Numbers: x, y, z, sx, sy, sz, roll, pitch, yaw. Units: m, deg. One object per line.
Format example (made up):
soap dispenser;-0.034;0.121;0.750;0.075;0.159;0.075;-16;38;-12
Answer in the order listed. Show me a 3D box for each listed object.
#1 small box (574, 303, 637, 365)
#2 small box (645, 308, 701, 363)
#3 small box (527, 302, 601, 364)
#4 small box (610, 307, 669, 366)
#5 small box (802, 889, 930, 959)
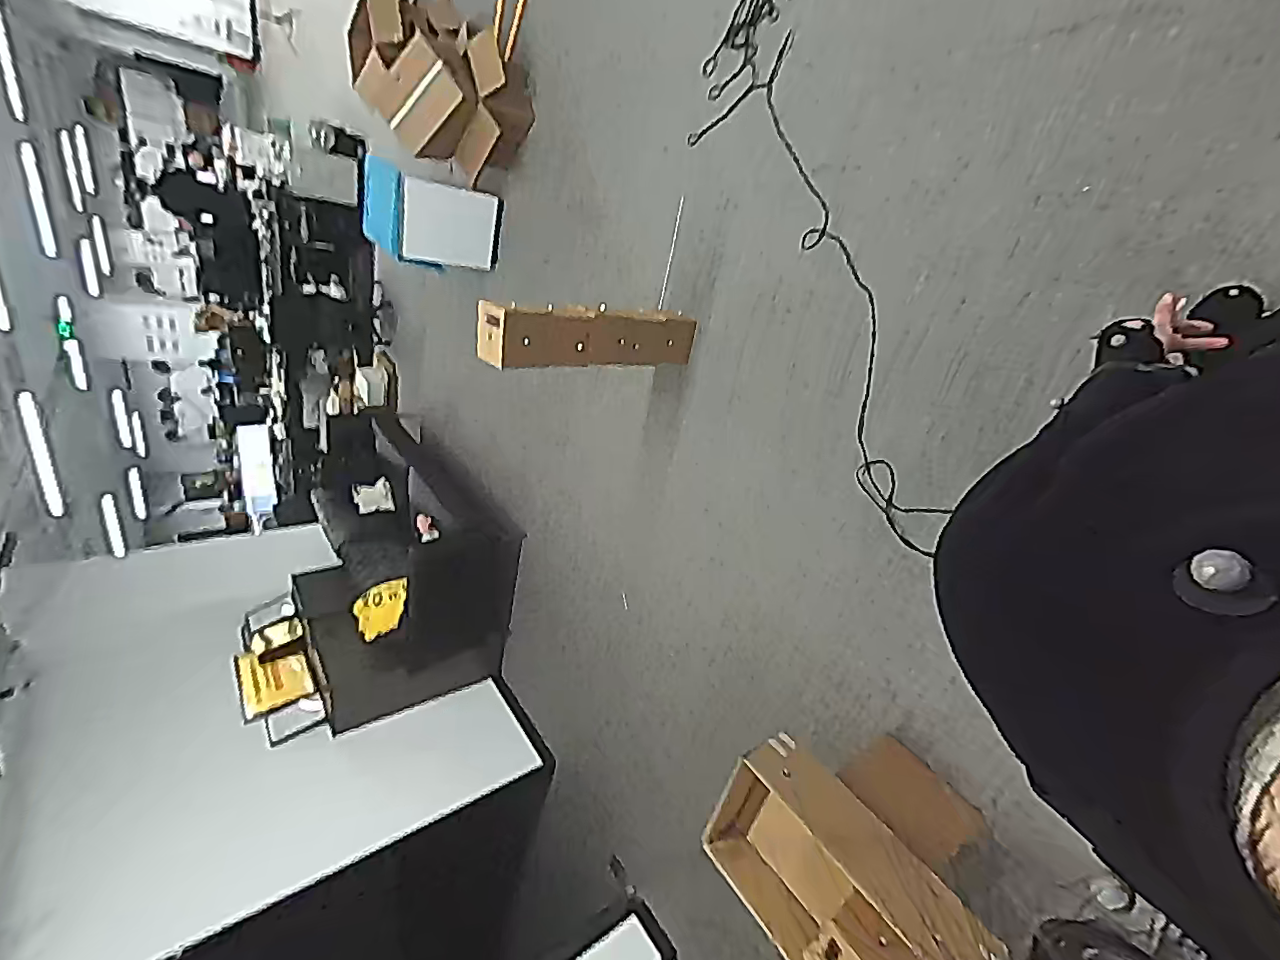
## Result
small box;-0.131;-0.513;1.906;0.168;0.176;0.179;34;122;42
small box;0.115;-0.563;2.116;0.168;0.176;0.179;36;123;42
small box;-0.256;-0.487;1.804;0.179;0.176;0.168;34;122;42
small box;-0.015;-0.535;2.019;0.168;0.176;0.179;36;123;41
small box;0.510;1.077;1.224;0.179;0.176;0.168;41;126;40
